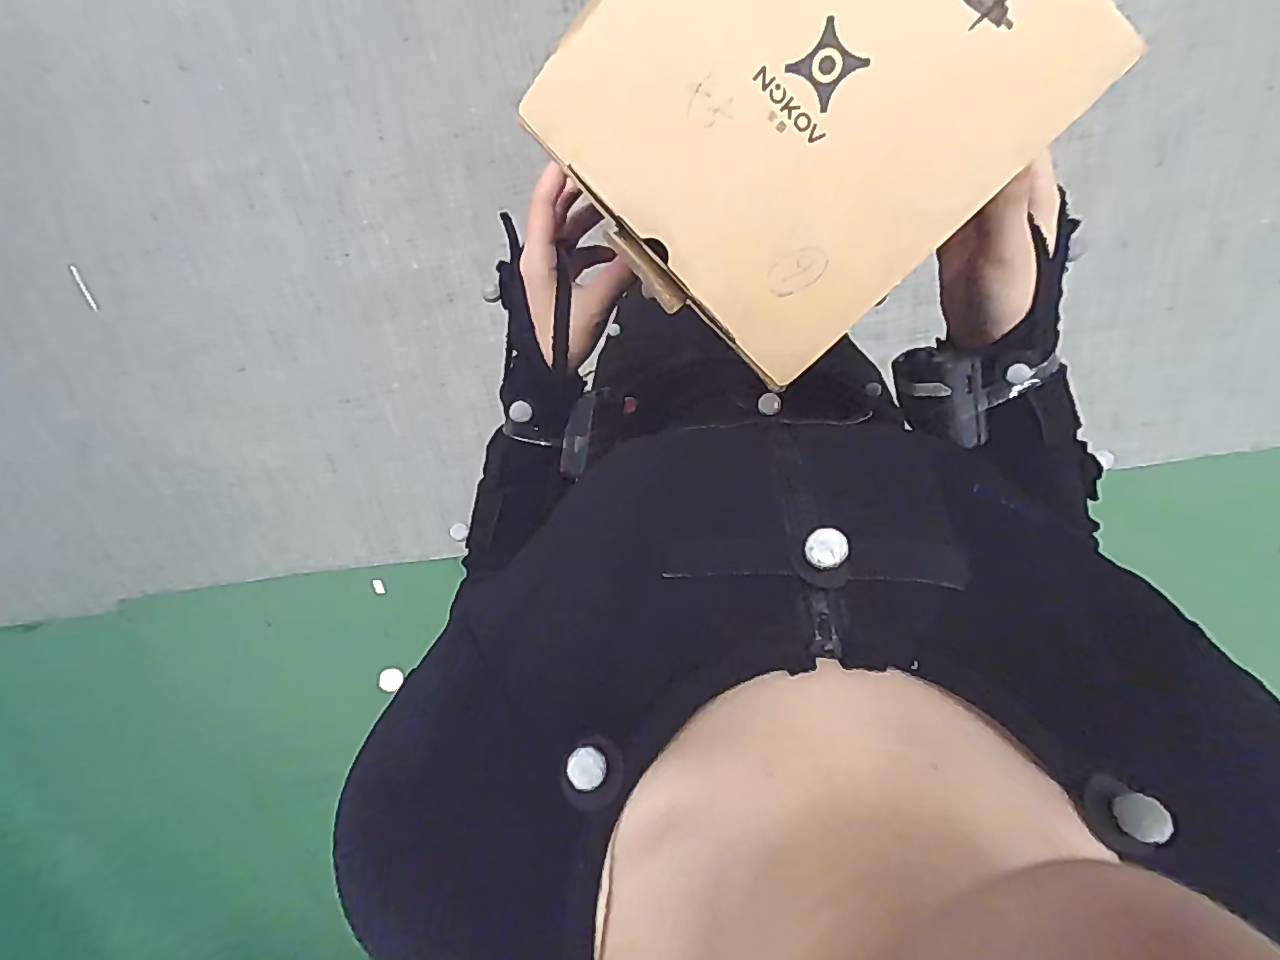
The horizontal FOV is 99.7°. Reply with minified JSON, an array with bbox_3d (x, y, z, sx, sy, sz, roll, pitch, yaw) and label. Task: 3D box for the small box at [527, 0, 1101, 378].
[{"bbox_3d":[0.075,-0.181,0.300,0.168,0.176,0.179,44,107,-6],"label":"small box"}]
